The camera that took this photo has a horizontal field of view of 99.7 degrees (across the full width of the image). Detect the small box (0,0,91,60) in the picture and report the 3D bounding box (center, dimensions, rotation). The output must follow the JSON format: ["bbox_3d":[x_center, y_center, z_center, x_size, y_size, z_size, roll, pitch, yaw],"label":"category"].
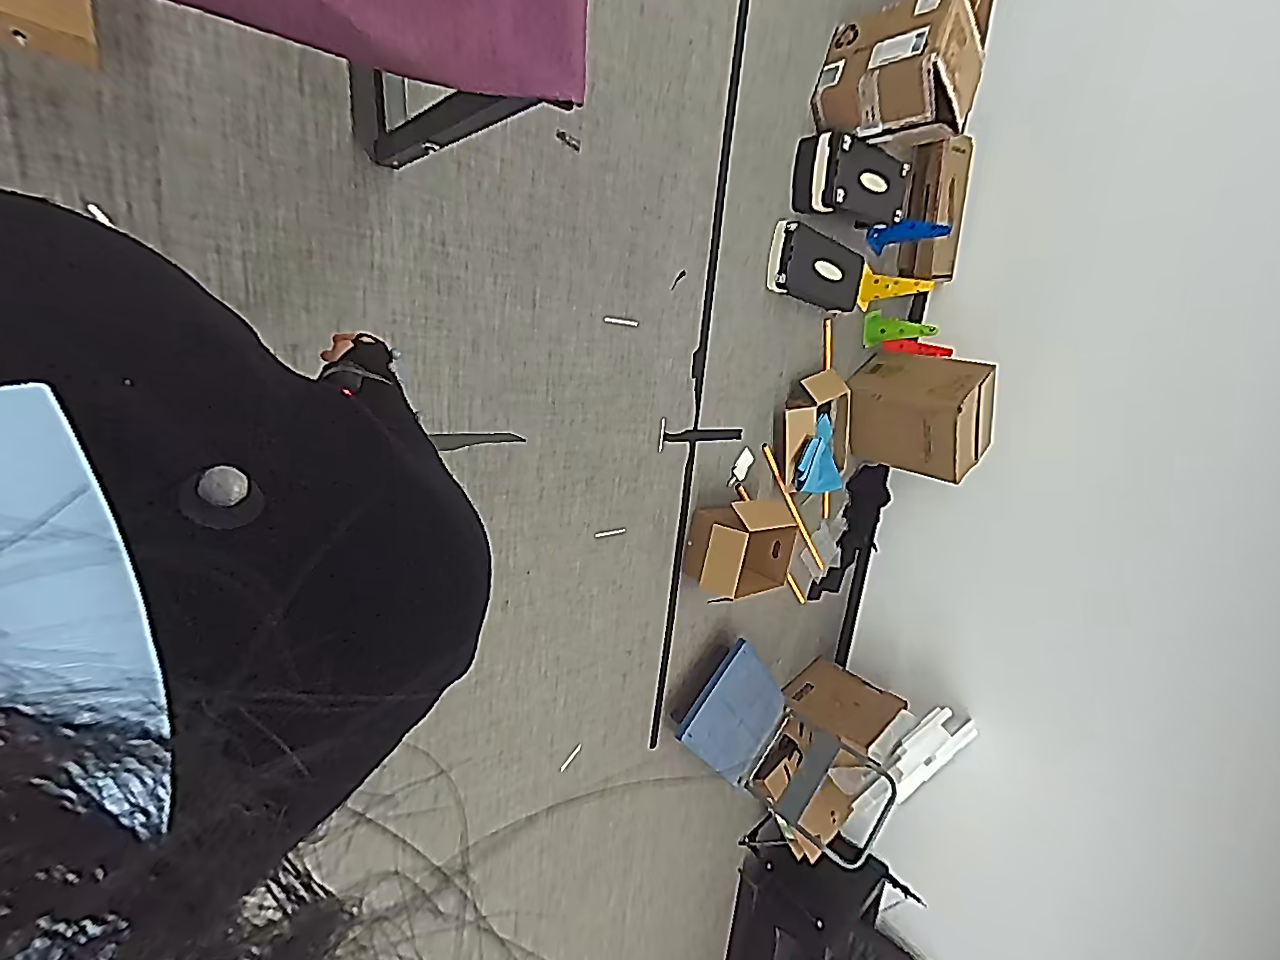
[{"bbox_3d":[-0.974,-0.797,0.834,0.168,0.176,0.179,-6,108,-43],"label":"small box"}]
